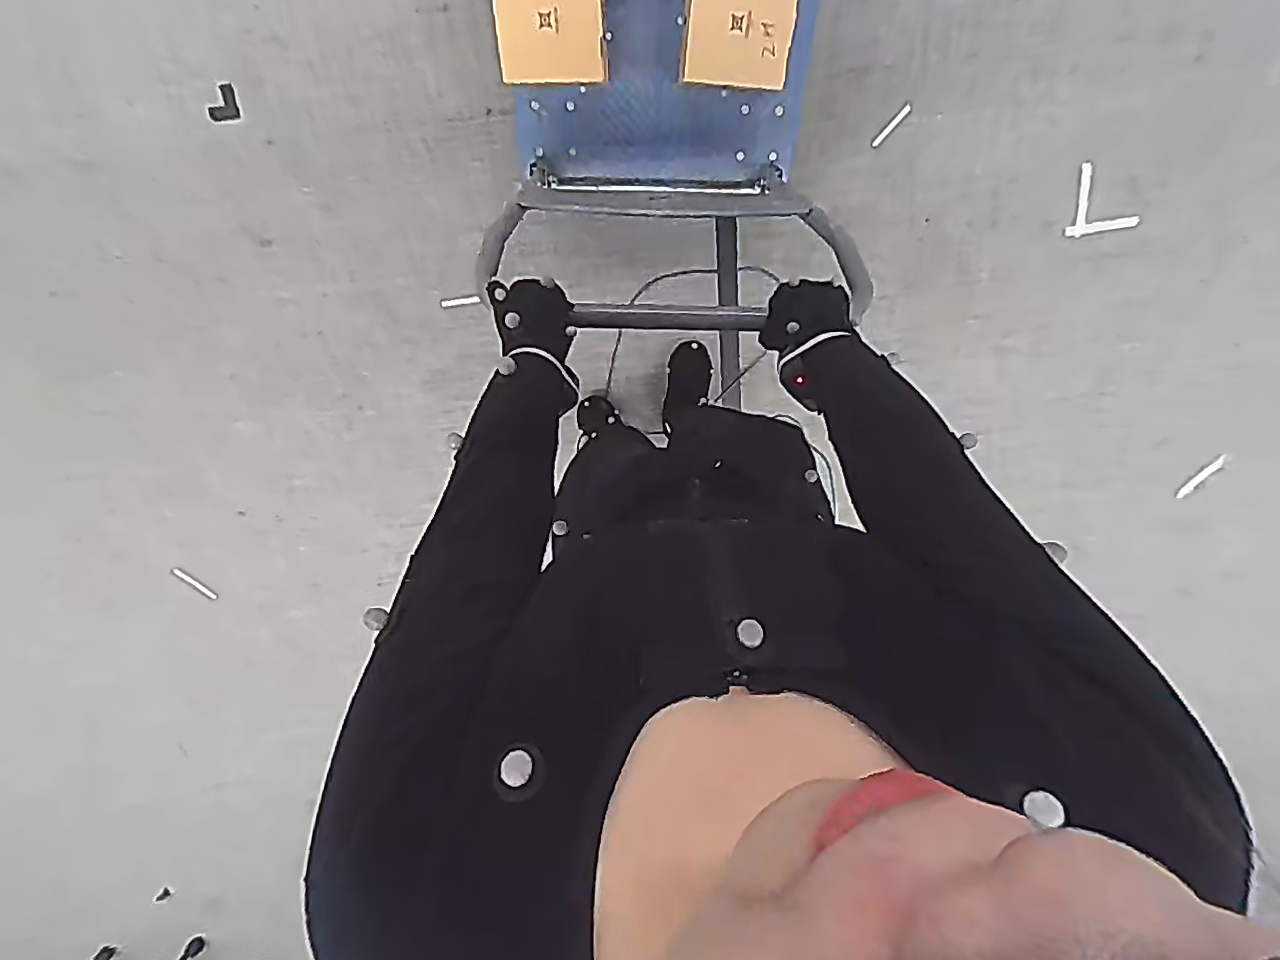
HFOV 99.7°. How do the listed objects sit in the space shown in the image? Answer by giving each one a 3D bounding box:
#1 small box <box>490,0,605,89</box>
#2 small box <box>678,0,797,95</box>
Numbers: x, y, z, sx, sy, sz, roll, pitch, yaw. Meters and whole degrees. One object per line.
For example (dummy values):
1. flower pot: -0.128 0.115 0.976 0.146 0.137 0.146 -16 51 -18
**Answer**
1. small box: -0.154 -0.790 0.944 0.179 0.176 0.168 -3 124 -1
2. small box: 0.163 -0.787 0.950 0.179 0.176 0.168 3 125 -3
